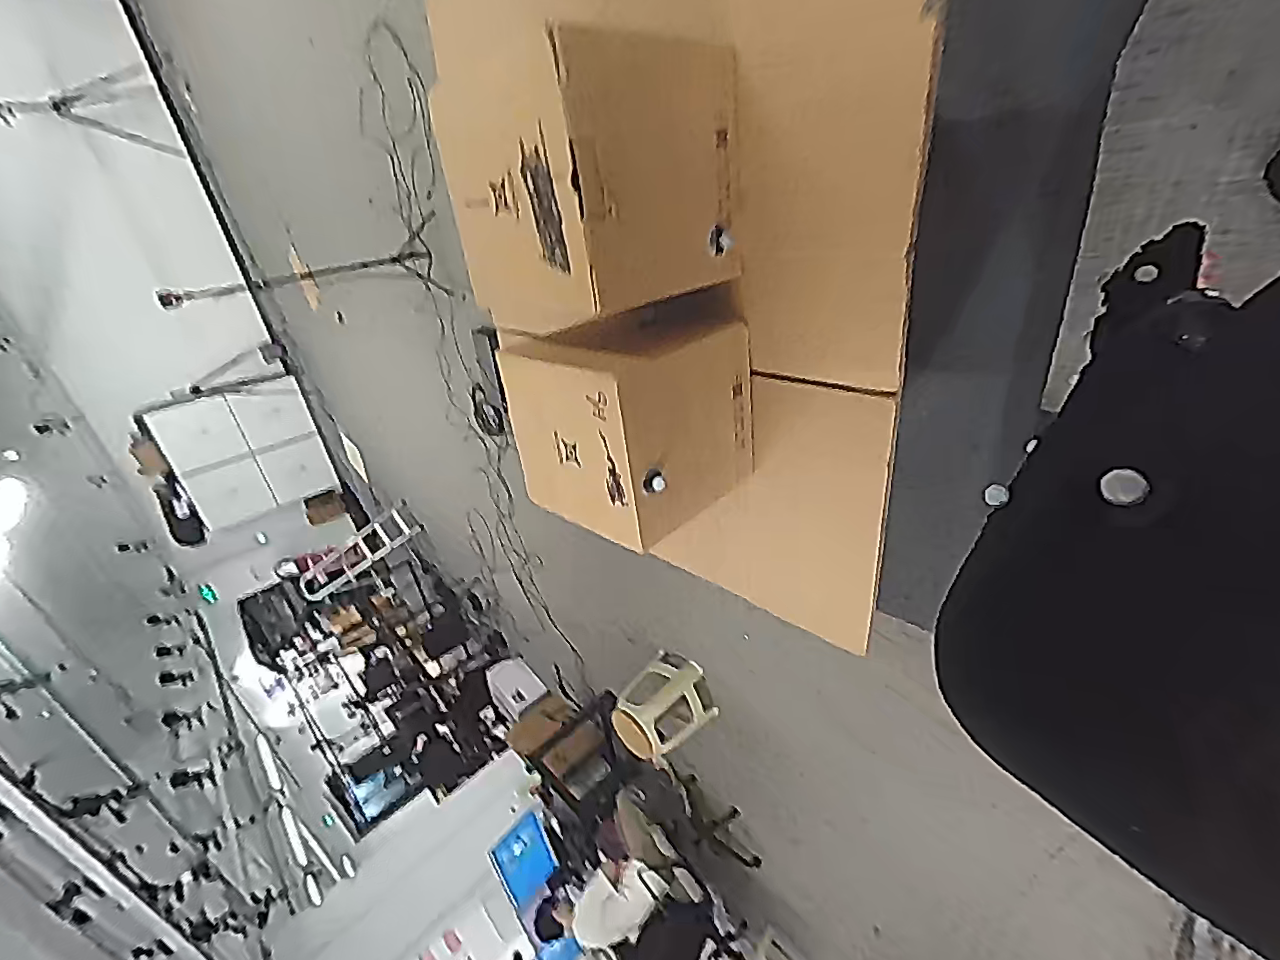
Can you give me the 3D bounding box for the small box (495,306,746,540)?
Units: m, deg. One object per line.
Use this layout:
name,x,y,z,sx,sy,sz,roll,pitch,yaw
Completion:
small box,-0.014,-0.072,0.542,0.179,0.176,0.168,22,131,43
